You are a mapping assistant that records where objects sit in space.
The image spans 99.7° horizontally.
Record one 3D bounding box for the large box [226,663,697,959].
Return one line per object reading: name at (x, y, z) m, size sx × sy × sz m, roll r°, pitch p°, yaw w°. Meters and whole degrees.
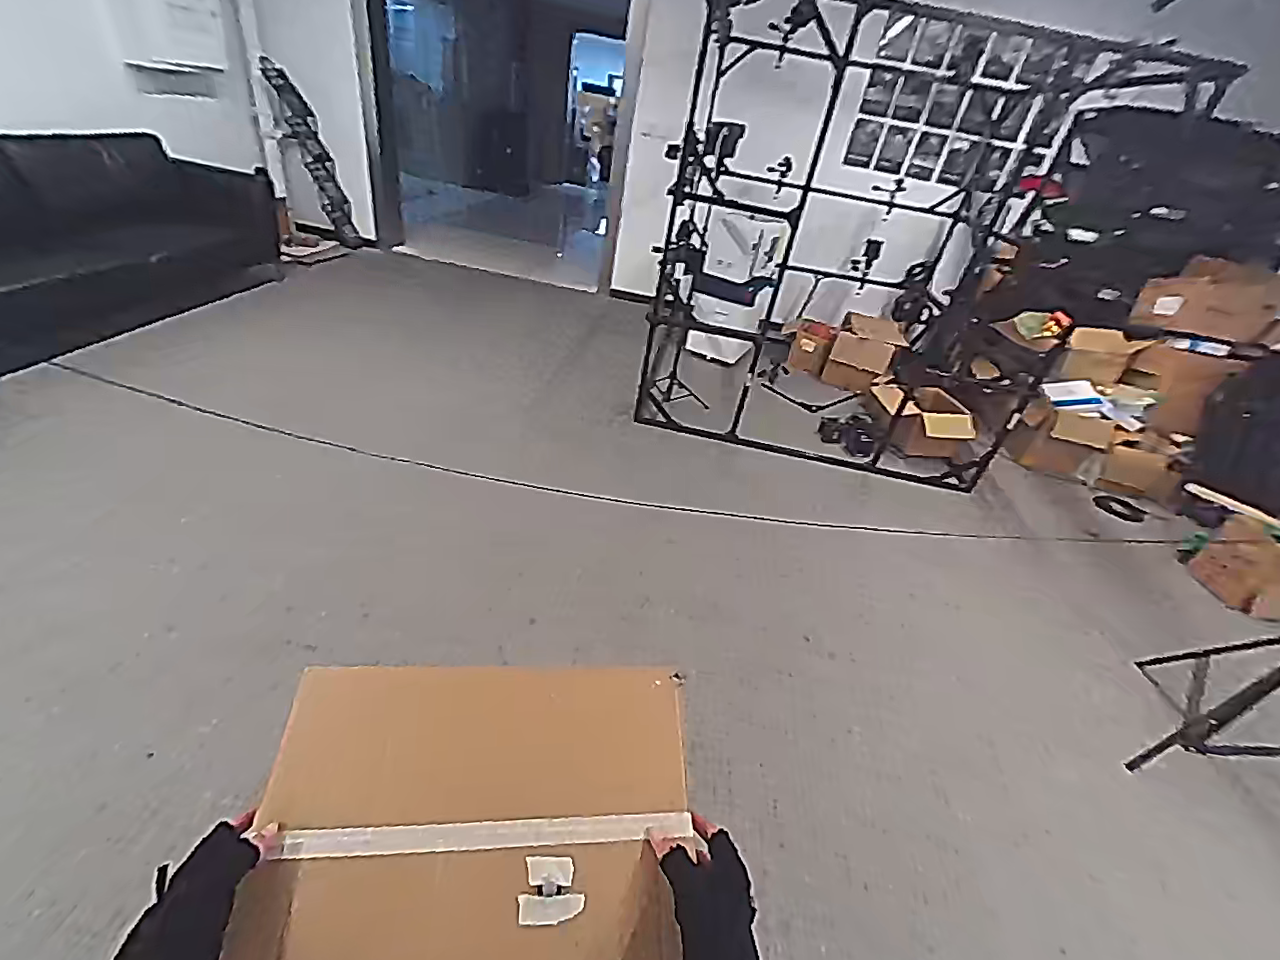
large box at (-0.176, 0.424, 0.642) m, size 0.408 × 0.320 × 0.320 m, roll 2°, pitch 54°, yaw -9°
